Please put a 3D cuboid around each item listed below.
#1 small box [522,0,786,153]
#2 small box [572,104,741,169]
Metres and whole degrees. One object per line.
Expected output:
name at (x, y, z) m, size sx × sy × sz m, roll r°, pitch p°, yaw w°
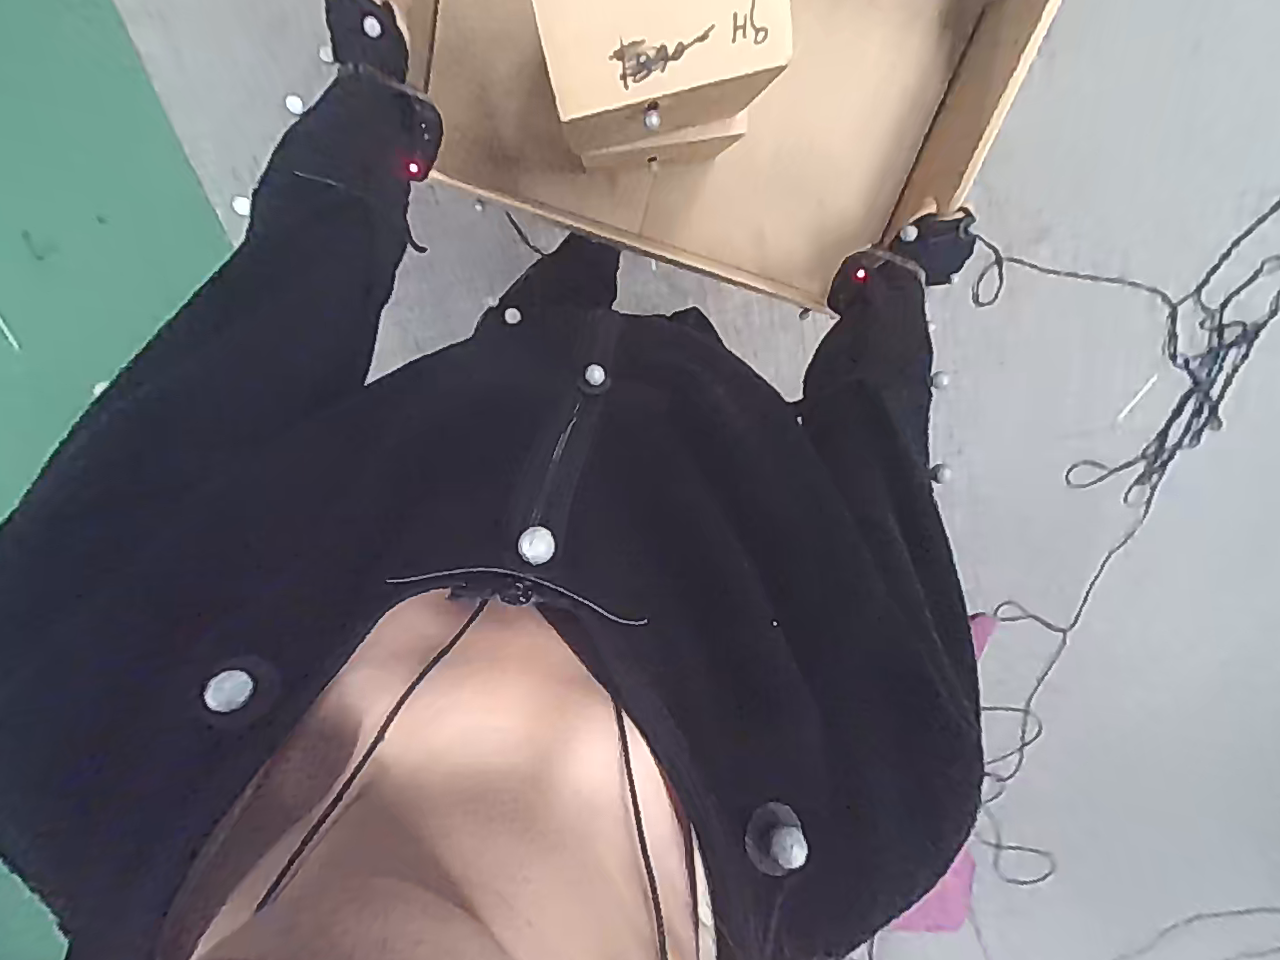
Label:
small box at (-0.004, -0.371, 0.402) m, size 0.168 × 0.176 × 0.179 m, roll -13°, pitch 114°, yaw 4°
small box at (0.004, -0.430, 0.555) m, size 0.168 × 0.176 × 0.179 m, roll -8°, pitch 114°, yaw 1°
